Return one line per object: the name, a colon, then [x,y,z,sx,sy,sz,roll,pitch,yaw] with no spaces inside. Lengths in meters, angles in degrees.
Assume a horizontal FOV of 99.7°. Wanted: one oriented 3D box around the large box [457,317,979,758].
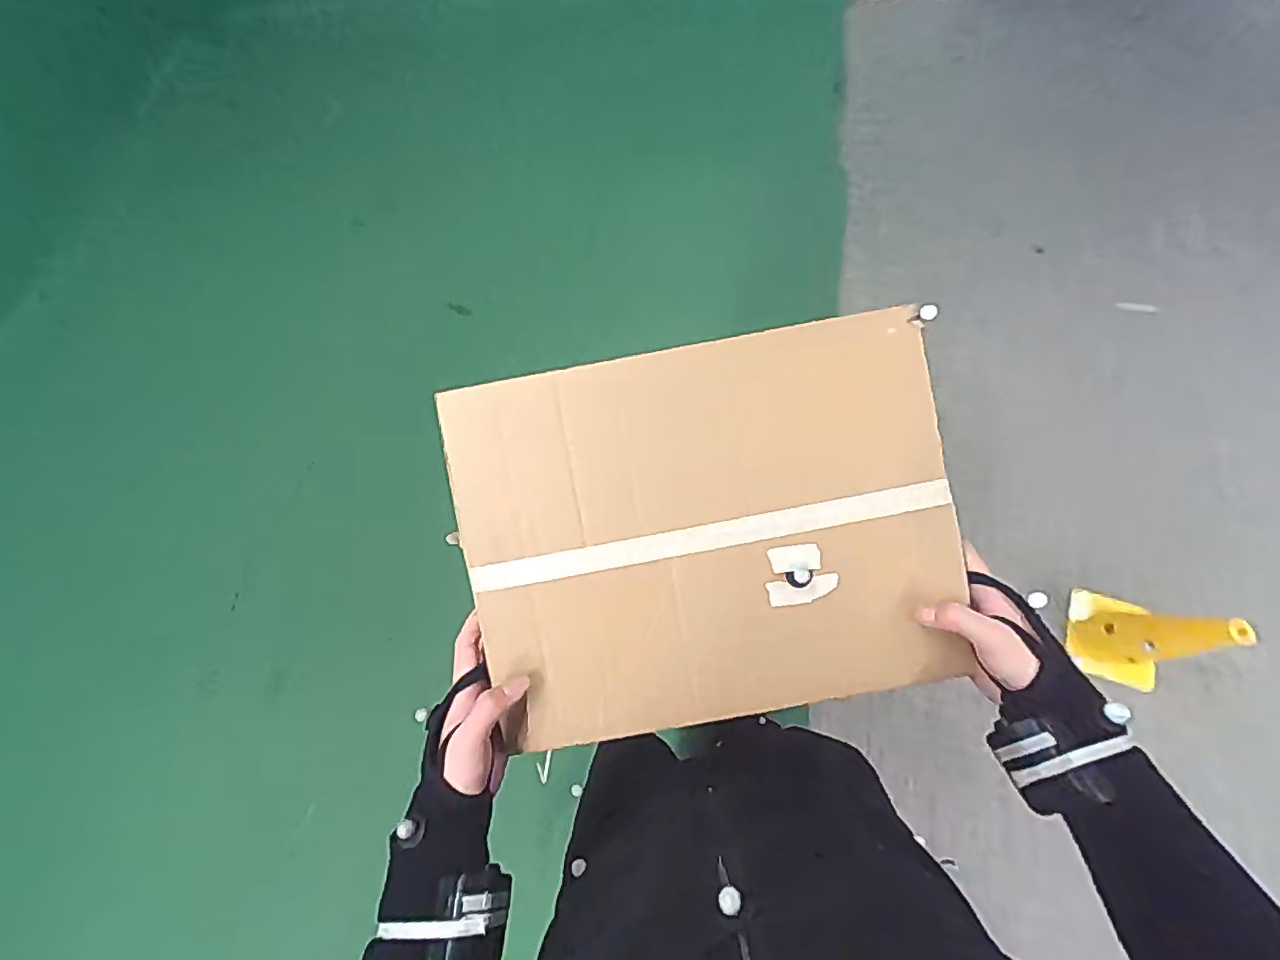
large box: [0.066,0.048,0.605,0.408,0.320,0.320,-11,92,0]
